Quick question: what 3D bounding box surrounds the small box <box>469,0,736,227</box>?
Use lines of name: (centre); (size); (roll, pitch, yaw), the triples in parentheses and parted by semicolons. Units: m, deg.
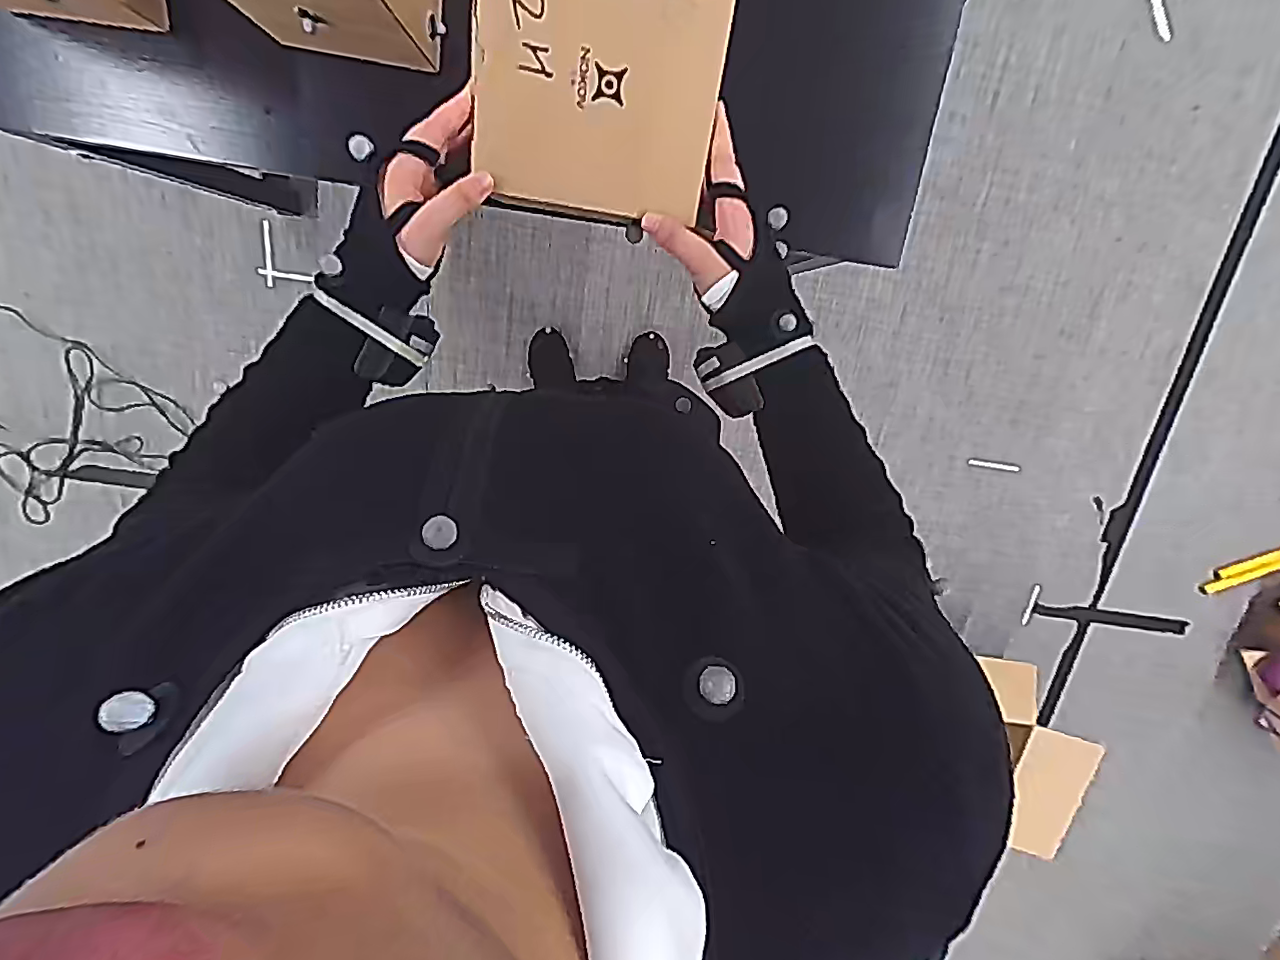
small box: (-0.034, -0.318, 0.457); (0.179, 0.176, 0.168); (8, 113, -6)

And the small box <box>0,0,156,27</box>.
small box: (-0.594, -0.558, 0.494); (0.179, 0.176, 0.168); (5, 106, -3)

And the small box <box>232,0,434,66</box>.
small box: (-0.301, -0.529, 0.510); (0.179, 0.176, 0.168); (8, 106, -3)
